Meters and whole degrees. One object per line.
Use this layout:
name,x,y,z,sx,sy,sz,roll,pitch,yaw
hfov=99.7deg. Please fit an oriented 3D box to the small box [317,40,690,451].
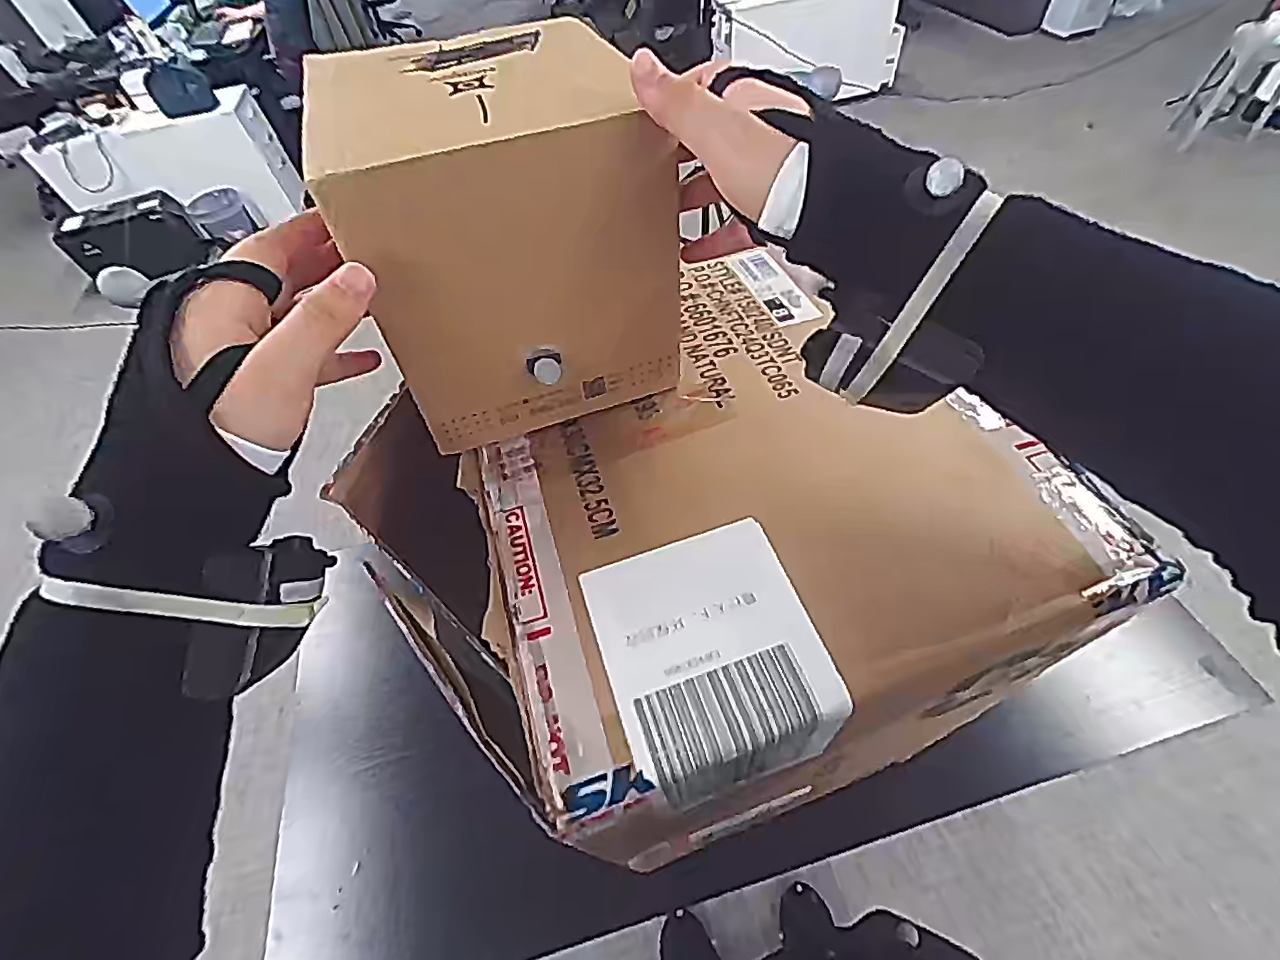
small box,-0.077,-0.149,0.346,0.168,0.176,0.179,-18,52,-10
